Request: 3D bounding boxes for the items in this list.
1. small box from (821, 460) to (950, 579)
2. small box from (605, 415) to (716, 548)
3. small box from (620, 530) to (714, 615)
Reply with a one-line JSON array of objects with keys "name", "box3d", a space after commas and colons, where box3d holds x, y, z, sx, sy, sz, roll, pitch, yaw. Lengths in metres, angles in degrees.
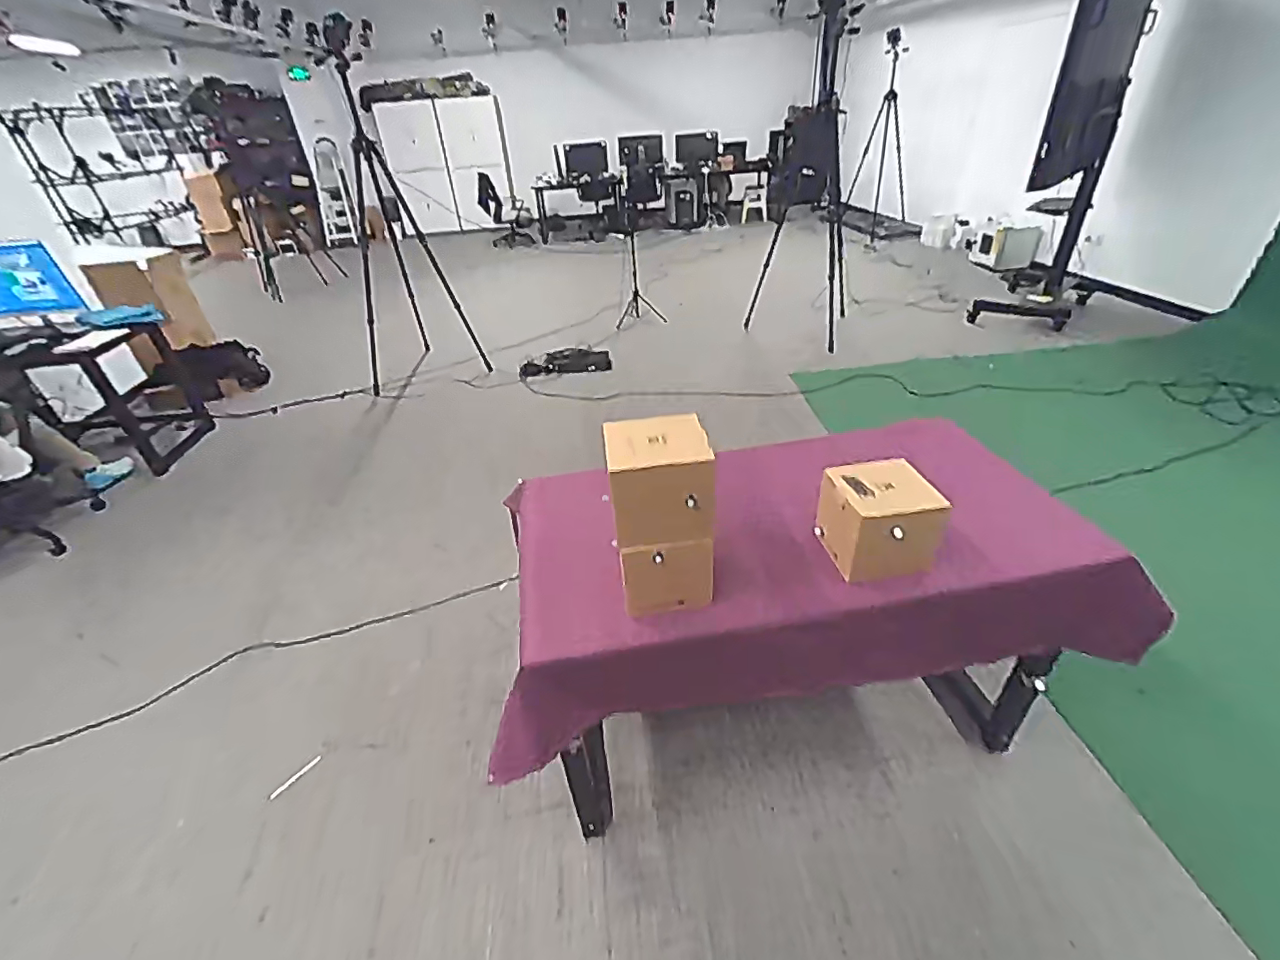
[{"name": "small box", "box3d": [0.477, 0.082, 1.086, 0.179, 0.176, 0.168, -7, 34, -4]}, {"name": "small box", "box3d": [0.034, 0.002, 0.967, 0.179, 0.176, 0.168, -7, 34, -2]}, {"name": "small box", "box3d": [0.045, 0.138, 1.059, 0.168, 0.176, 0.179, -8, 34, -3]}]
